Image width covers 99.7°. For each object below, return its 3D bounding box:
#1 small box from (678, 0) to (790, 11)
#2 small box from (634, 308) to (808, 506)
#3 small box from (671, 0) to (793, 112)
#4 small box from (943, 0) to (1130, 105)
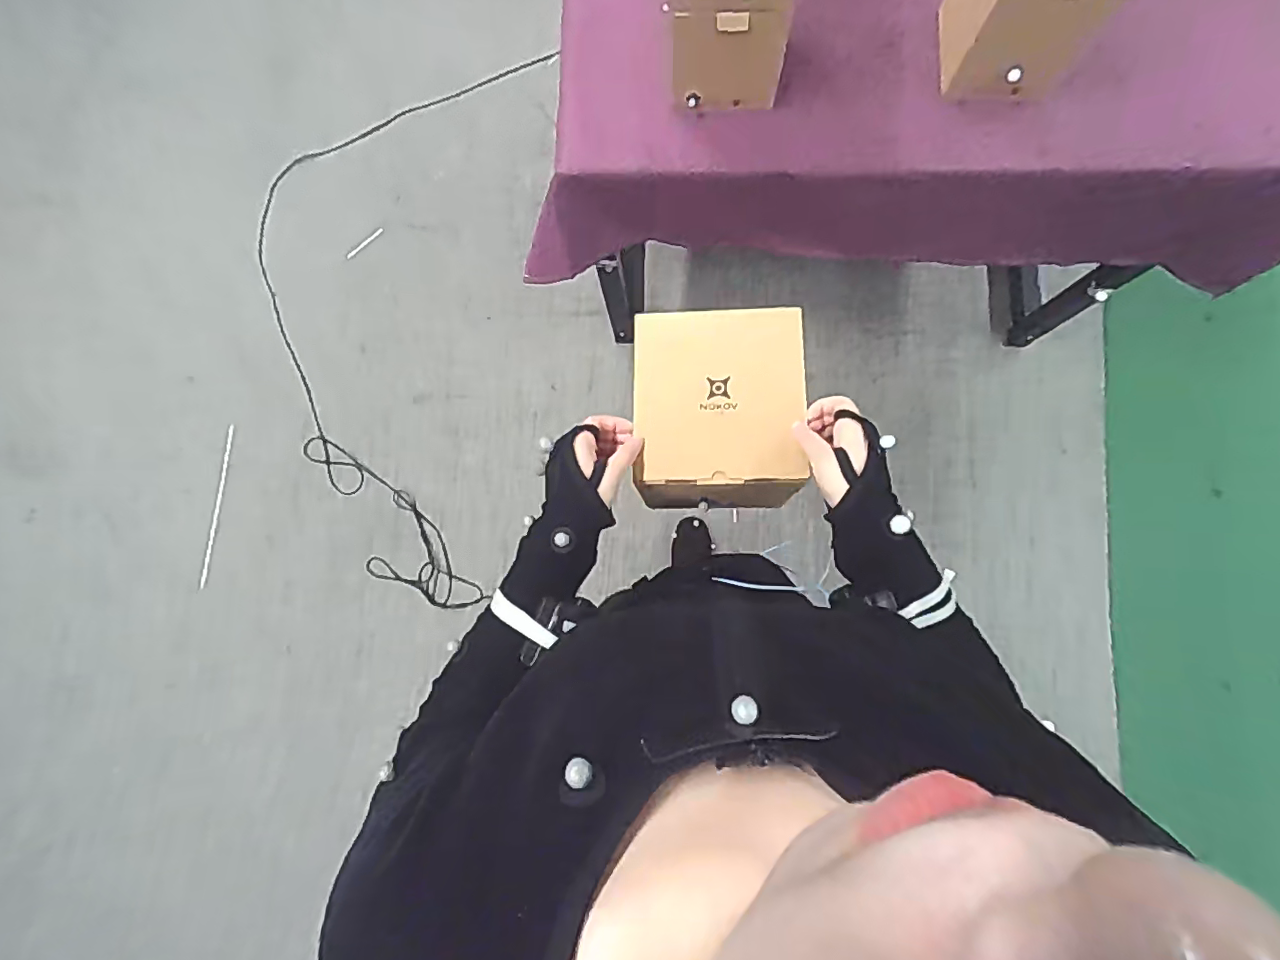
[{"bbox_3d":[0.119,-0.721,0.658,0.168,0.176,0.179,3,82,4],"label":"small box"},{"bbox_3d":[0.083,-0.070,0.599,0.168,0.176,0.179,-1,80,5],"label":"small box"},{"bbox_3d":[0.133,-0.694,0.820,0.168,0.176,0.179,1,80,3],"label":"small box"},{"bbox_3d":[0.565,-0.697,0.791,0.168,0.176,0.179,4,81,5],"label":"small box"}]
